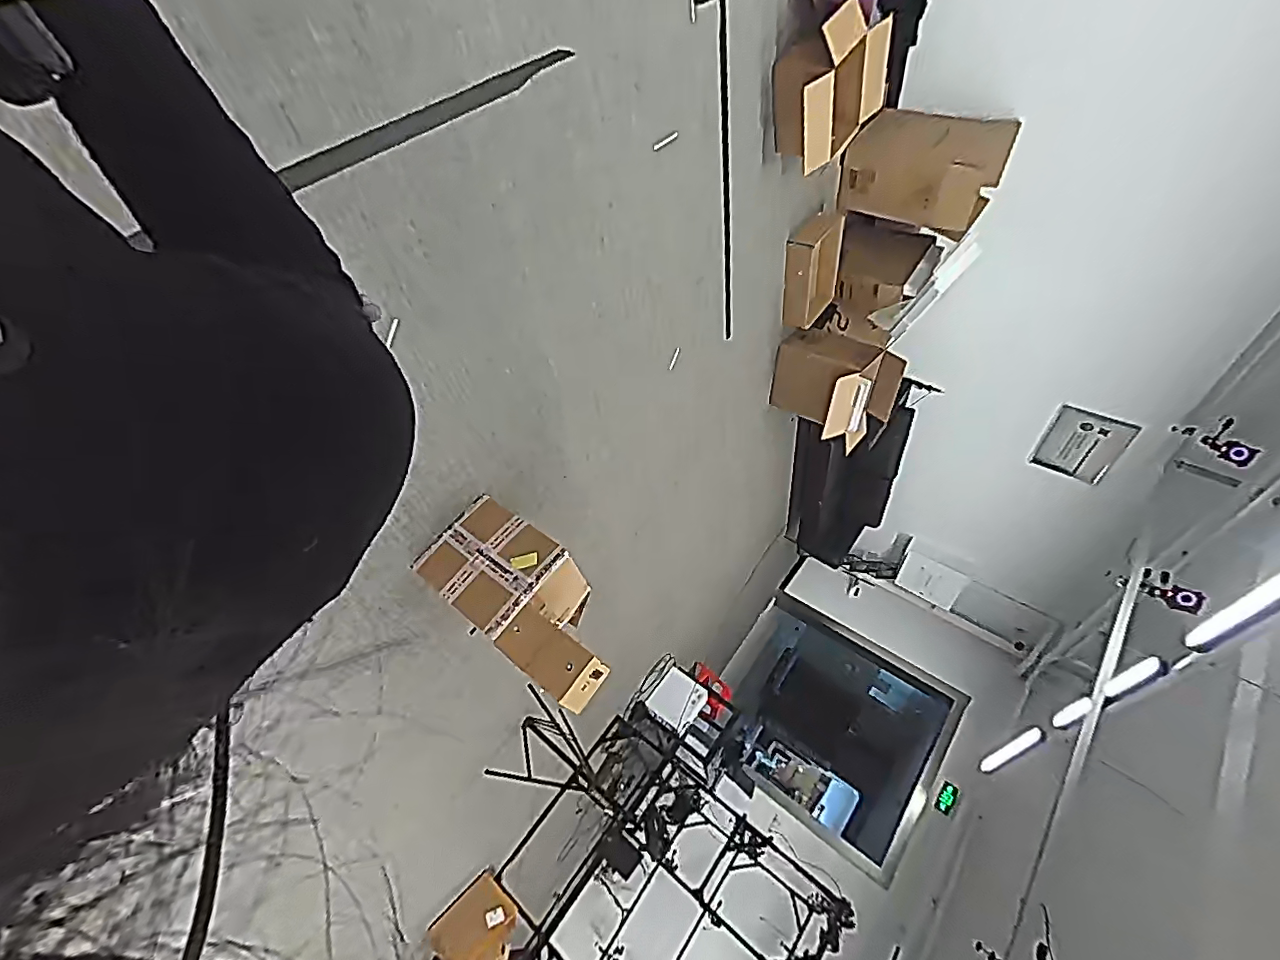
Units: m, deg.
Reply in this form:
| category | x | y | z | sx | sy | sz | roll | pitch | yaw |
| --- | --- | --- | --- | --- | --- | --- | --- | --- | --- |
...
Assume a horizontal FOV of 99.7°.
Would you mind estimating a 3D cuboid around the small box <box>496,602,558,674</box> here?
| category | x | y | z | sx | sy | sz | roll | pitch | yaw |
| --- | --- | --- | --- | --- | --- | --- | --- | --- | --- |
| small box | -0.369 | 0.556 | 1.862 | 0.179 | 0.176 | 0.168 | -51 | 146 | -18 |

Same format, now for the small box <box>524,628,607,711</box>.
| category | x | y | z | sx | sy | sz | roll | pitch | yaw |
| --- | --- | --- | --- | --- | --- | --- | --- | --- | --- |
| small box | -0.244 | 0.615 | 1.771 | 0.179 | 0.176 | 0.168 | -51 | 146 | -18 |
